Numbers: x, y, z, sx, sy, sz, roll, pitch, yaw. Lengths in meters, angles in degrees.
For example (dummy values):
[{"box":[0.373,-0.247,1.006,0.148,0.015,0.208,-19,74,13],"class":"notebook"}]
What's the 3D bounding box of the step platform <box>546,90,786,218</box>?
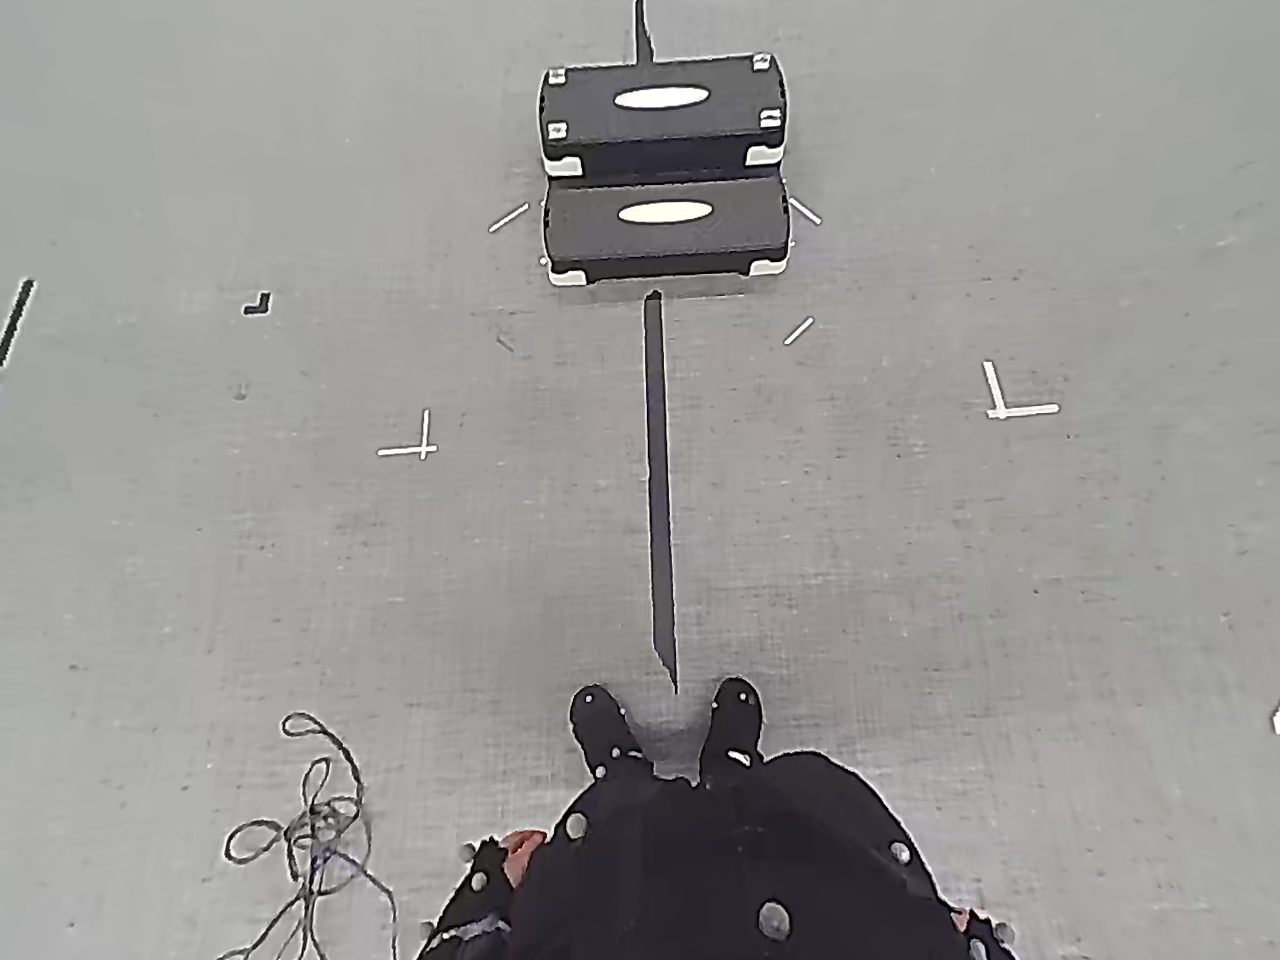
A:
[{"box":[0.073,-0.949,1.572,0.684,0.204,0.286,1,72,2],"class":"step platform"}]
